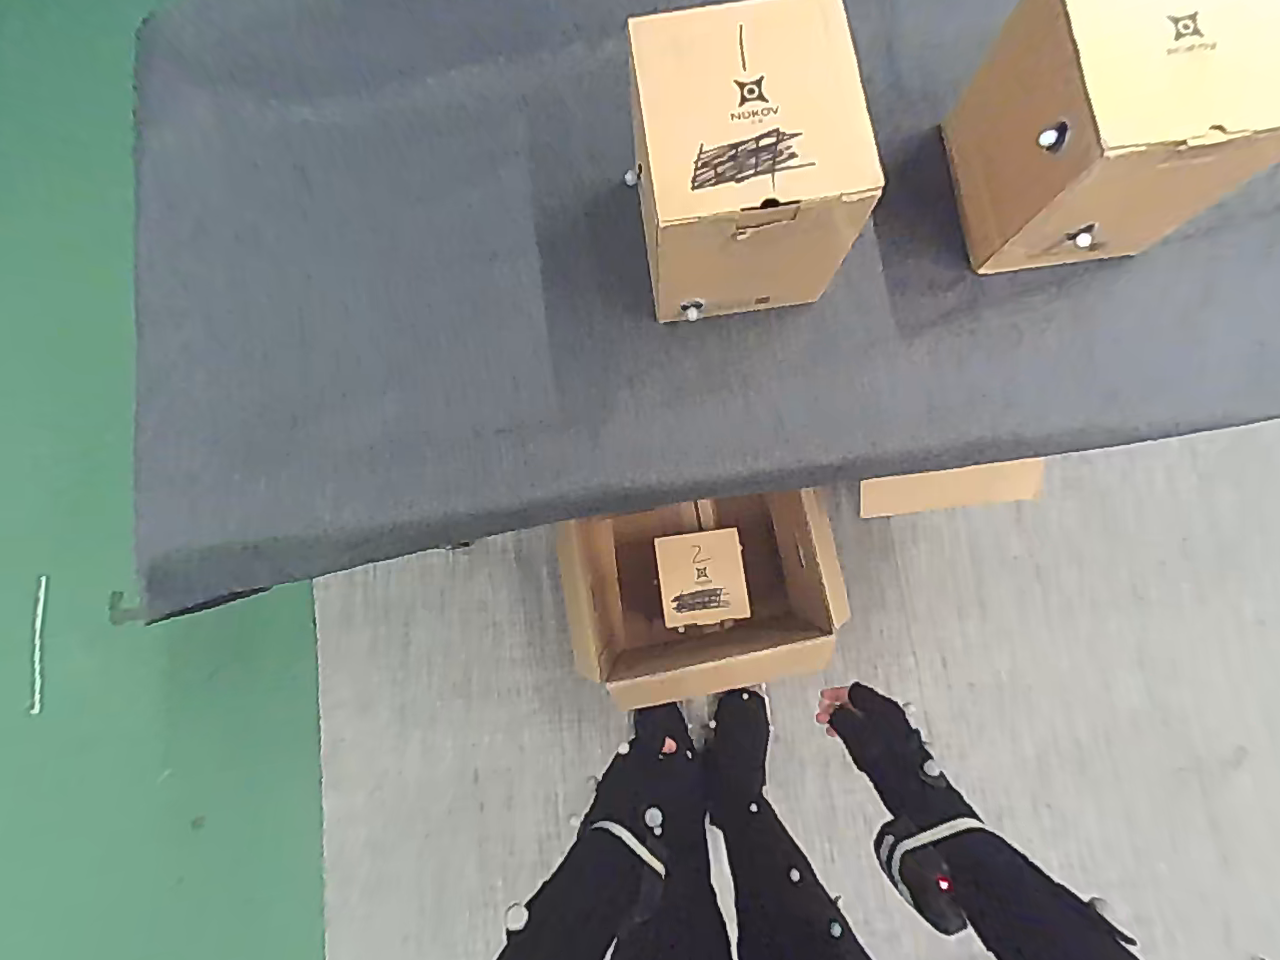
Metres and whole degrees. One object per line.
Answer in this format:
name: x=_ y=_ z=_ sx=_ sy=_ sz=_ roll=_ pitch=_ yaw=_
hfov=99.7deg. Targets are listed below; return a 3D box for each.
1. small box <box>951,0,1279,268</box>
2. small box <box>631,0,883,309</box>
small box: x=0.404 y=-0.315 z=0.471 sx=0.168 sy=0.176 sz=0.179 roll=-7 pitch=82 yaw=1
small box: x=0.087 y=-0.267 z=0.476 sx=0.168 sy=0.176 sz=0.179 roll=-7 pitch=81 yaw=1
